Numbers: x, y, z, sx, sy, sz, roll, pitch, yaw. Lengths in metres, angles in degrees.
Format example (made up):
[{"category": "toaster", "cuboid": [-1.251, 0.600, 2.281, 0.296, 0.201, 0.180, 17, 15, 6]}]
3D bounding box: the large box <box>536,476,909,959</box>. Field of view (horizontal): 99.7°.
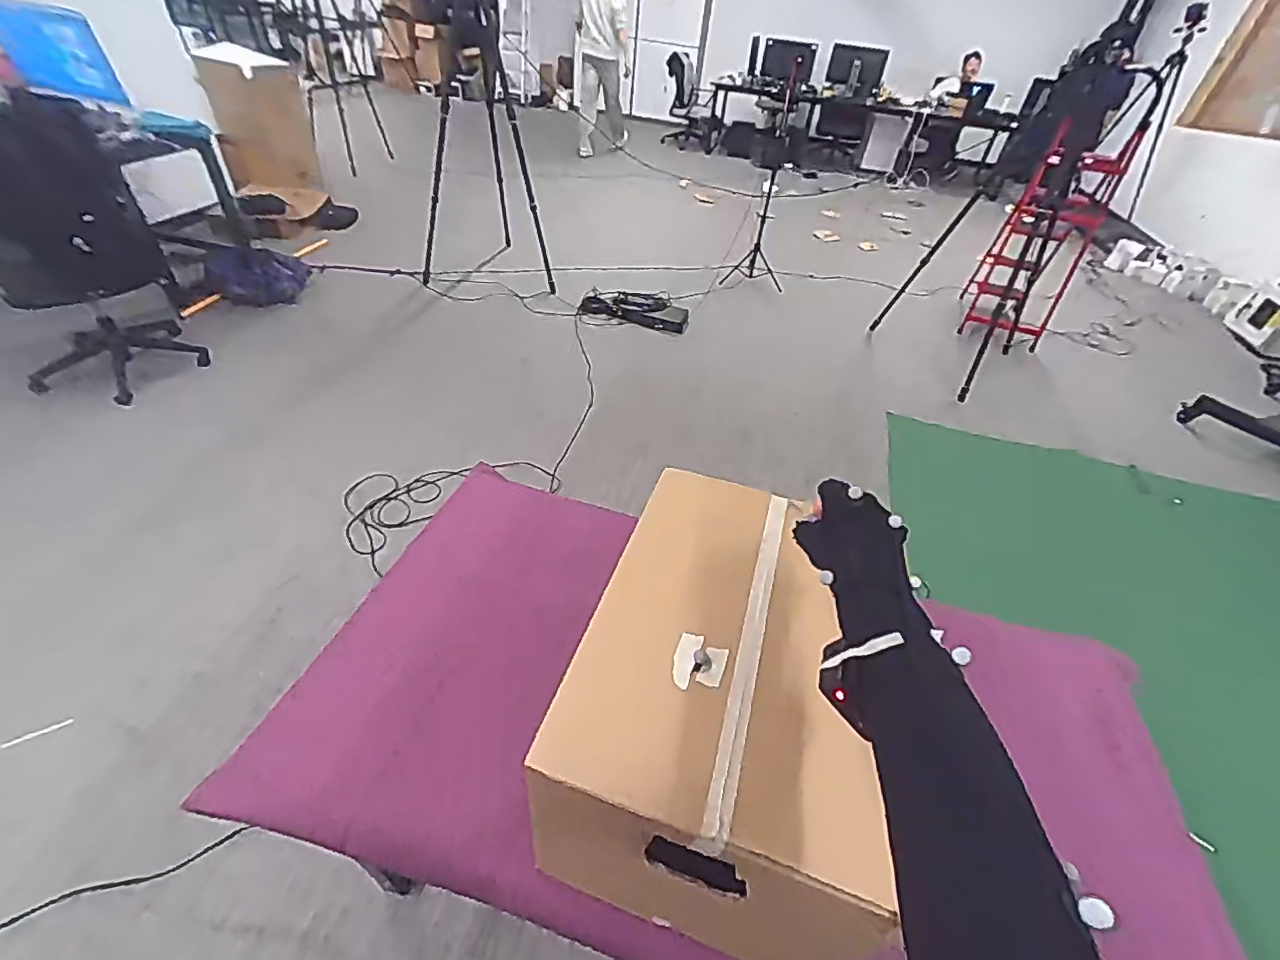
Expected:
[{"category": "large box", "cuboid": [0.098, 0.267, 0.666, 0.320, 0.320, 0.408, 17, 43, 10]}]
